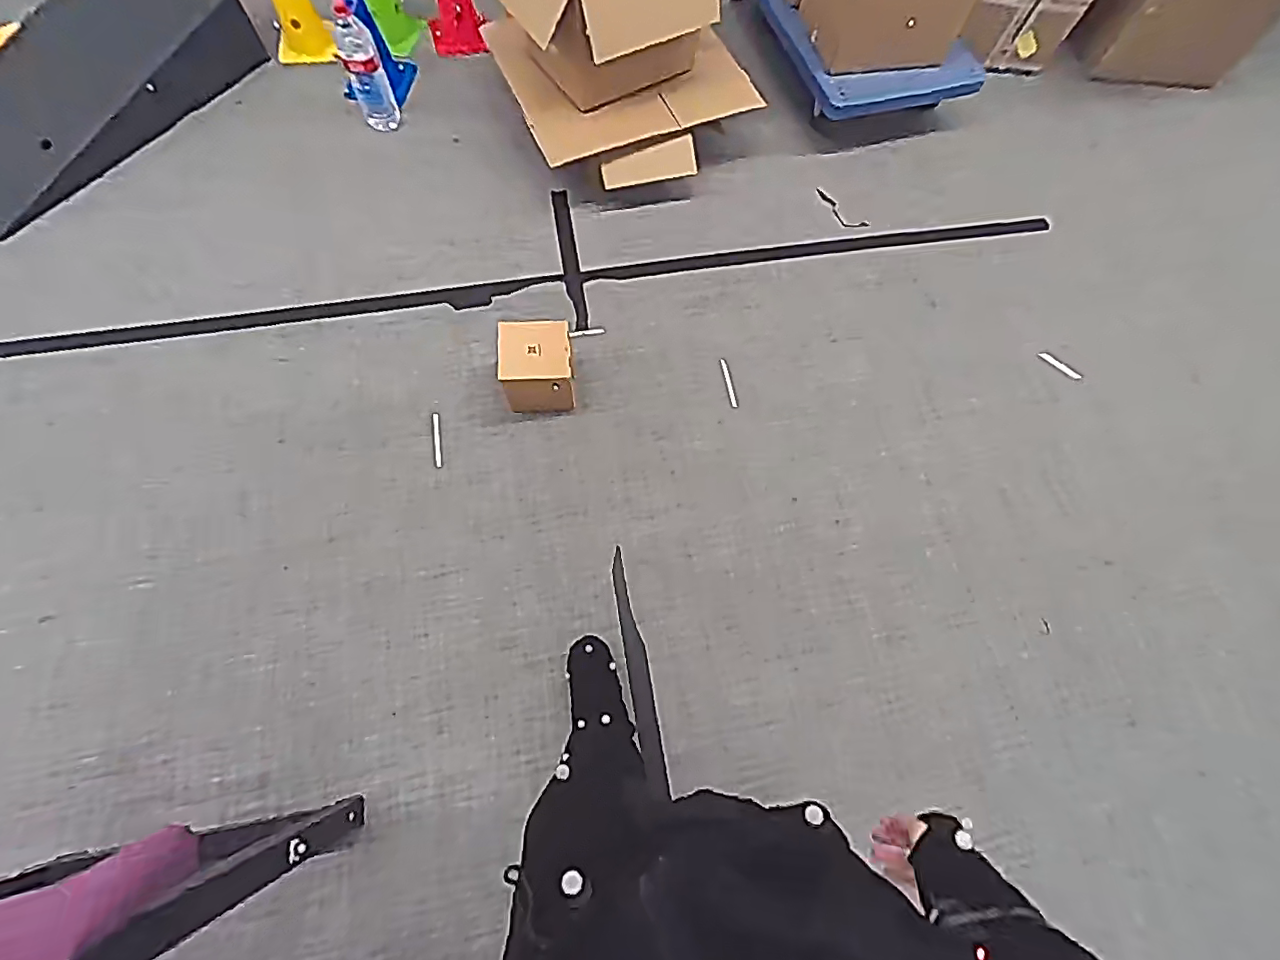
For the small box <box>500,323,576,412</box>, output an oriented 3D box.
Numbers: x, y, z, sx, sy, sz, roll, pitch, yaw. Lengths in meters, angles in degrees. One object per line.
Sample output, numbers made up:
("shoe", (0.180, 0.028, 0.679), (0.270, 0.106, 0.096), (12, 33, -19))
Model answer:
("small box", (-0.258, -0.285, 1.392), (0.179, 0.176, 0.168), (-3, 71, -6))
